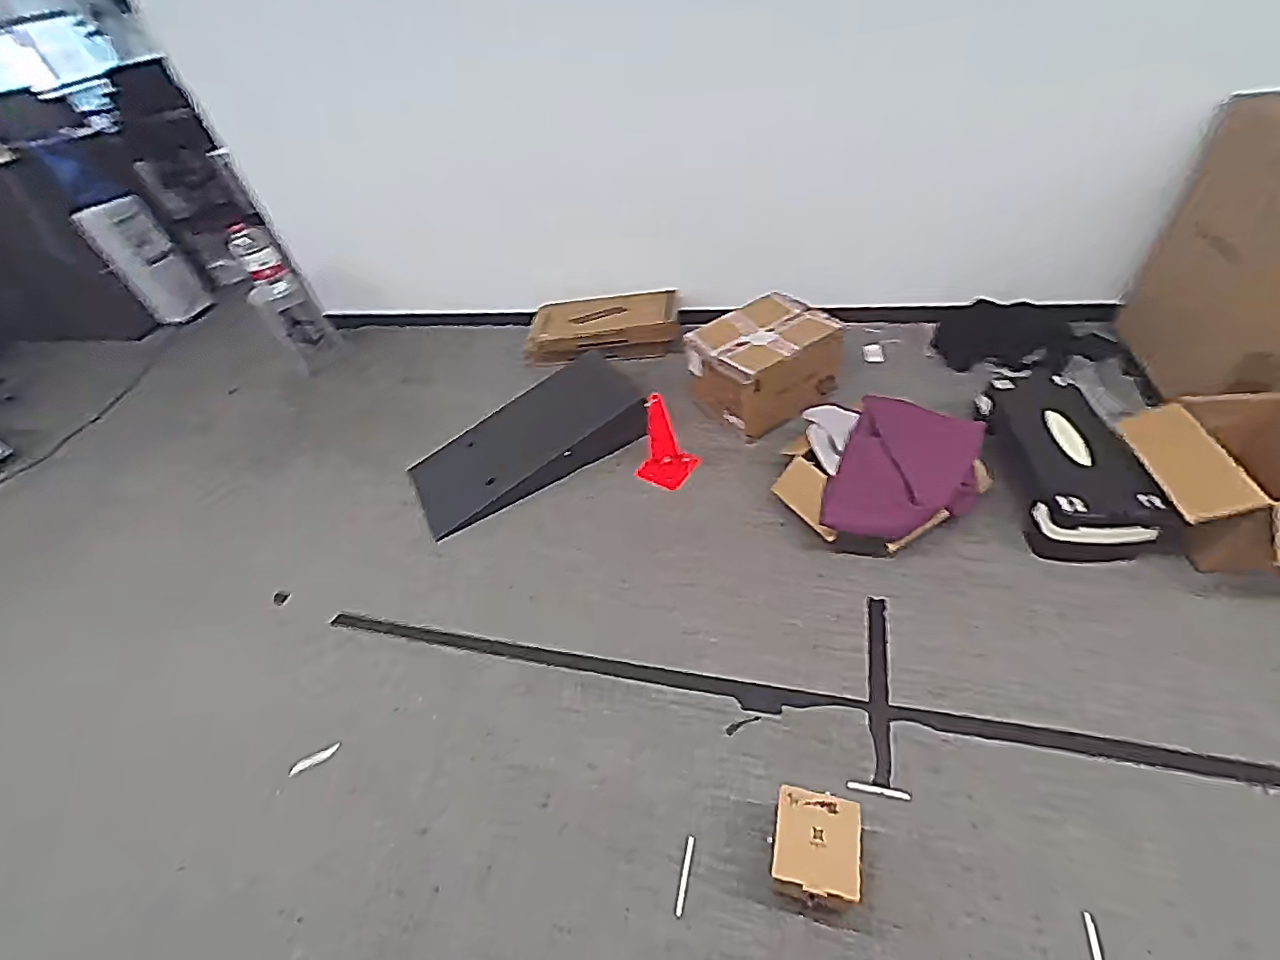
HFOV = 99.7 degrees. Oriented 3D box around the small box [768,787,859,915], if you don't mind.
[{"bbox_3d":[0.368,0.792,1.150,0.168,0.176,0.179,6,48,18],"label":"small box"}]
